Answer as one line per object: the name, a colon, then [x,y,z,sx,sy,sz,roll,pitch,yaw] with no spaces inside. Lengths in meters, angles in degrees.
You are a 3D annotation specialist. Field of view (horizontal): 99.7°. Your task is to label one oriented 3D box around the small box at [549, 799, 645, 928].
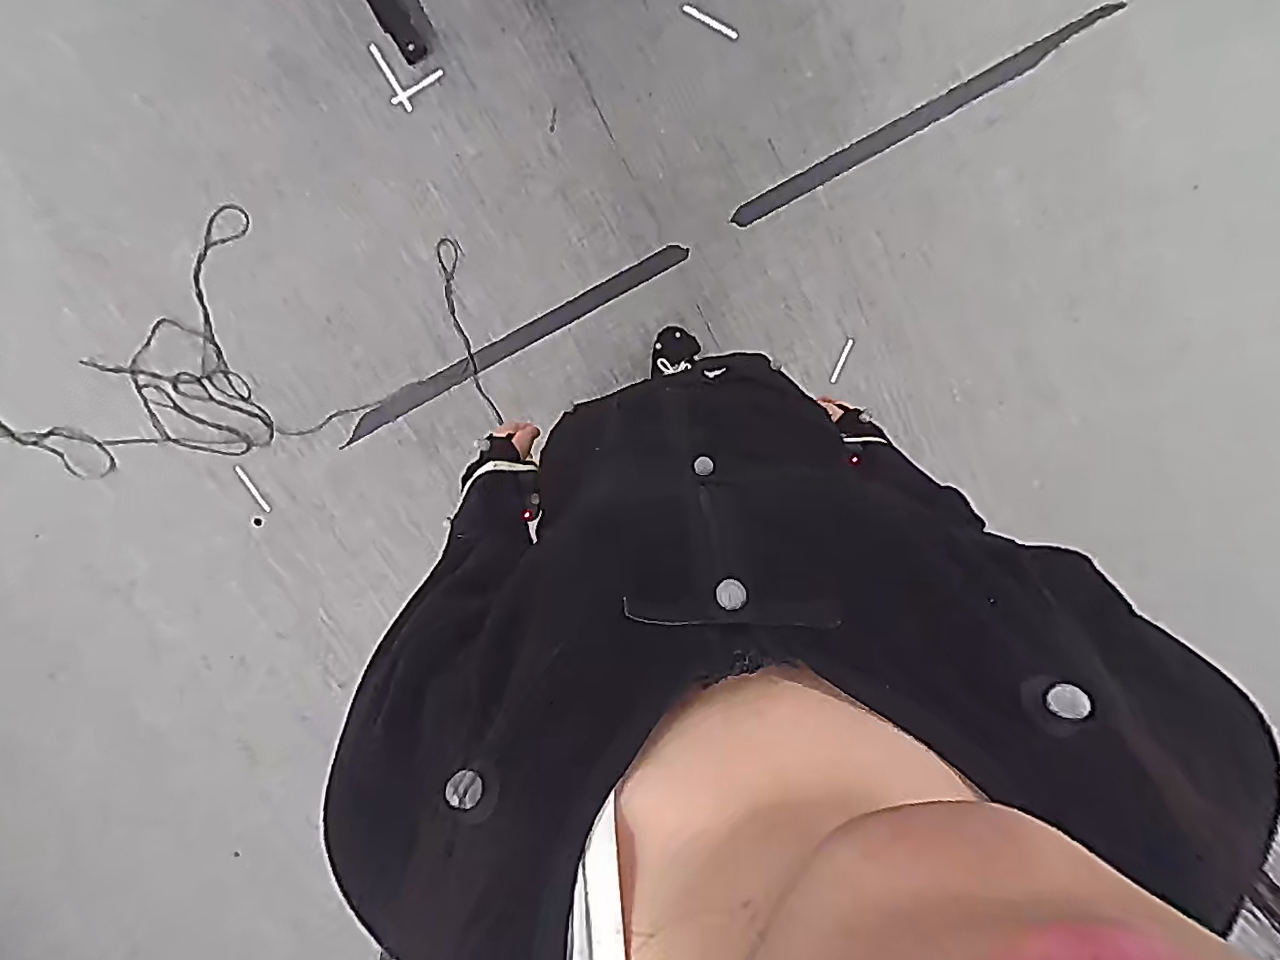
small box: [-0.100,0.904,1.289,0.179,0.176,0.168,20,100,-6]
